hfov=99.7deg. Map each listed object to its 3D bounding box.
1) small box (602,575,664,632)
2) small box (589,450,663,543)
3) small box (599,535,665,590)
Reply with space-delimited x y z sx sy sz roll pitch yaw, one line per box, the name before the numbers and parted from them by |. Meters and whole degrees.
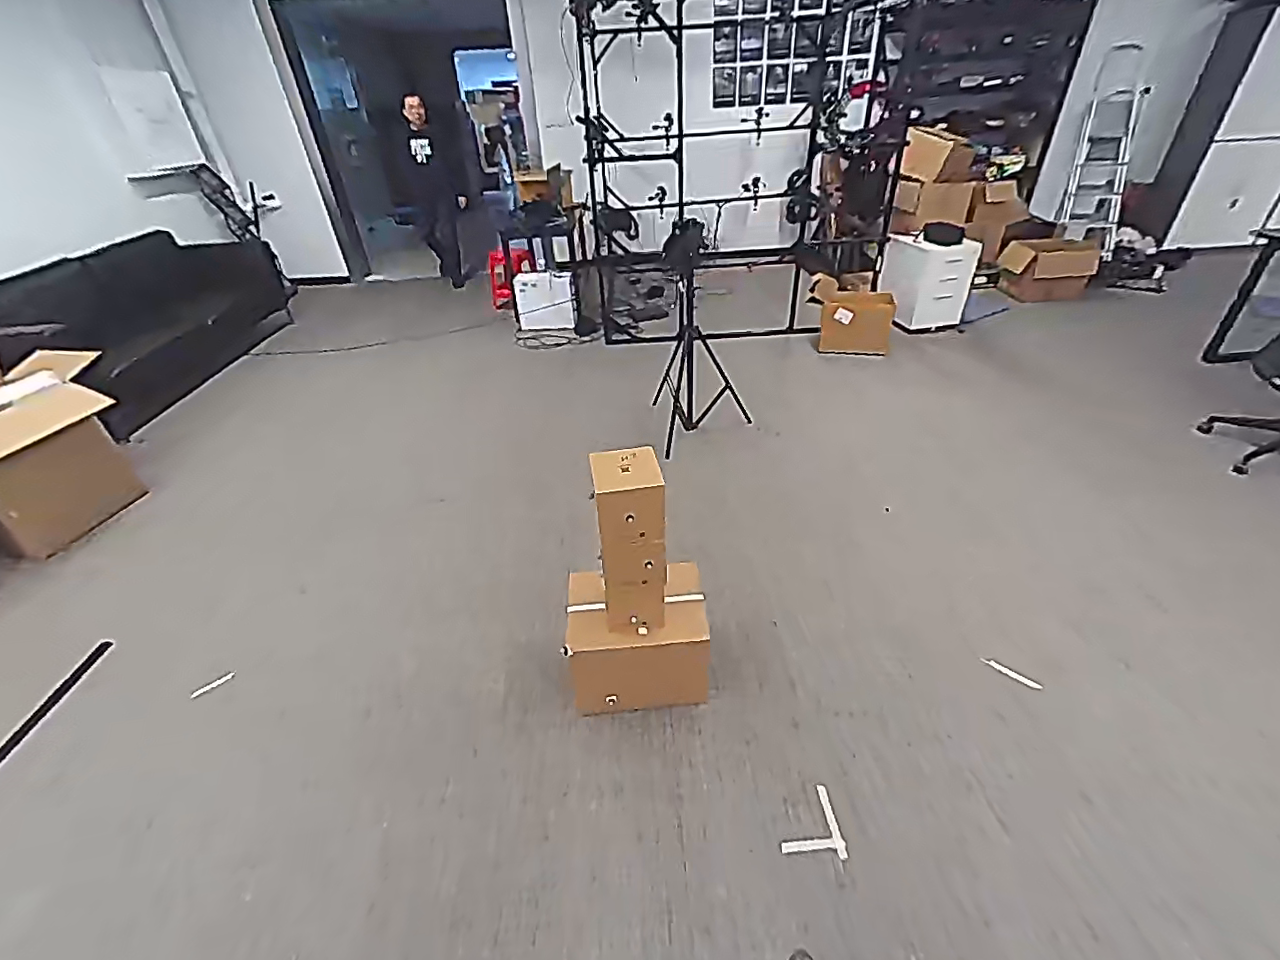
small box | -0.022 0.311 1.559 0.168 0.176 0.179 -5 36 -2
small box | -0.035 0.046 1.367 0.168 0.176 0.179 -7 36 -7
small box | -0.024 0.182 1.460 0.168 0.176 0.179 -5 35 -4
